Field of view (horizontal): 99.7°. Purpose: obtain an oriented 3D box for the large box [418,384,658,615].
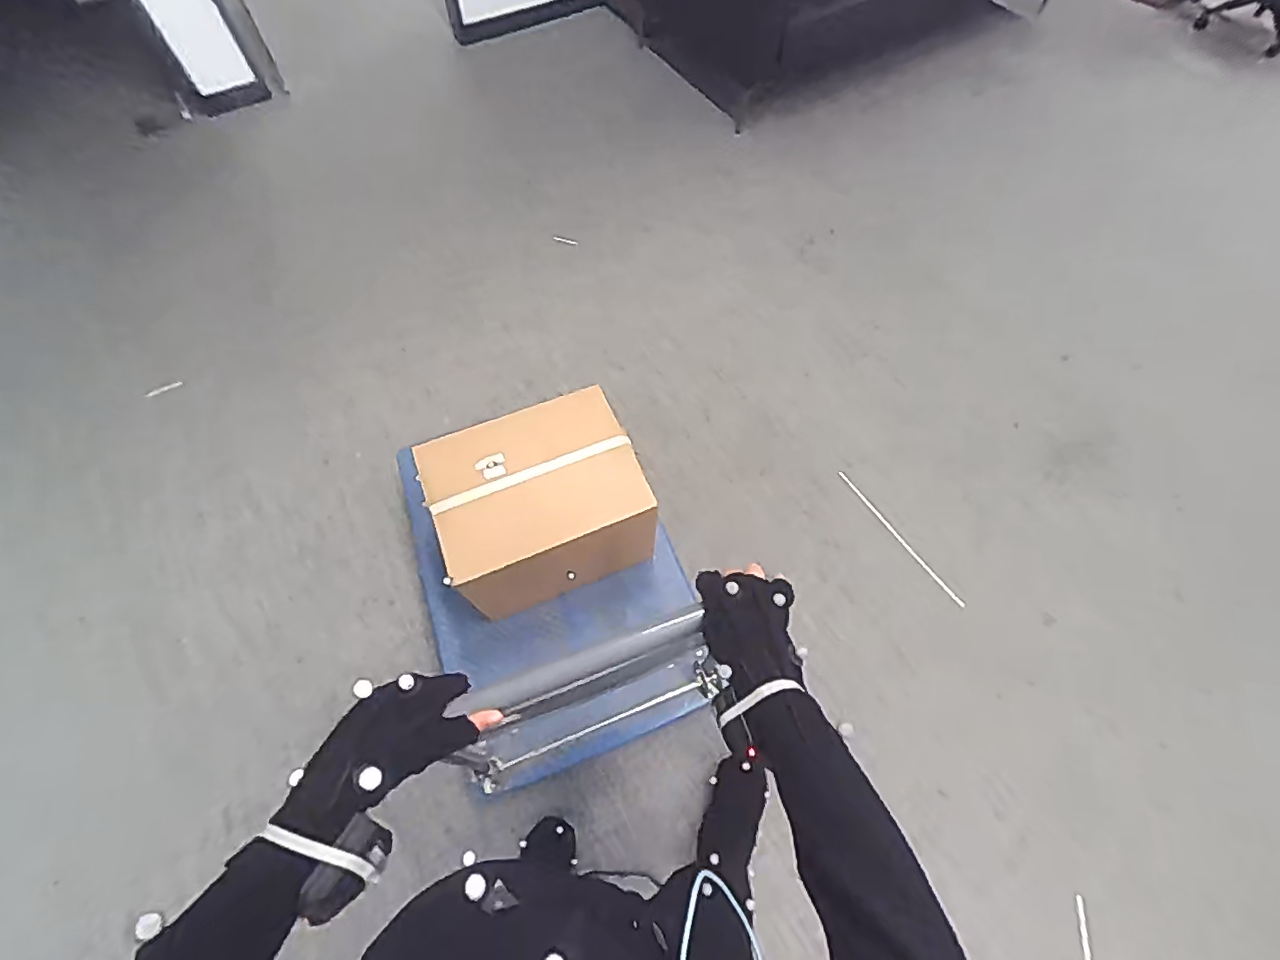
[{"bbox_3d":[-0.206,0.053,1.194,0.408,0.320,0.320,-21,66,-11],"label":"large box"}]
